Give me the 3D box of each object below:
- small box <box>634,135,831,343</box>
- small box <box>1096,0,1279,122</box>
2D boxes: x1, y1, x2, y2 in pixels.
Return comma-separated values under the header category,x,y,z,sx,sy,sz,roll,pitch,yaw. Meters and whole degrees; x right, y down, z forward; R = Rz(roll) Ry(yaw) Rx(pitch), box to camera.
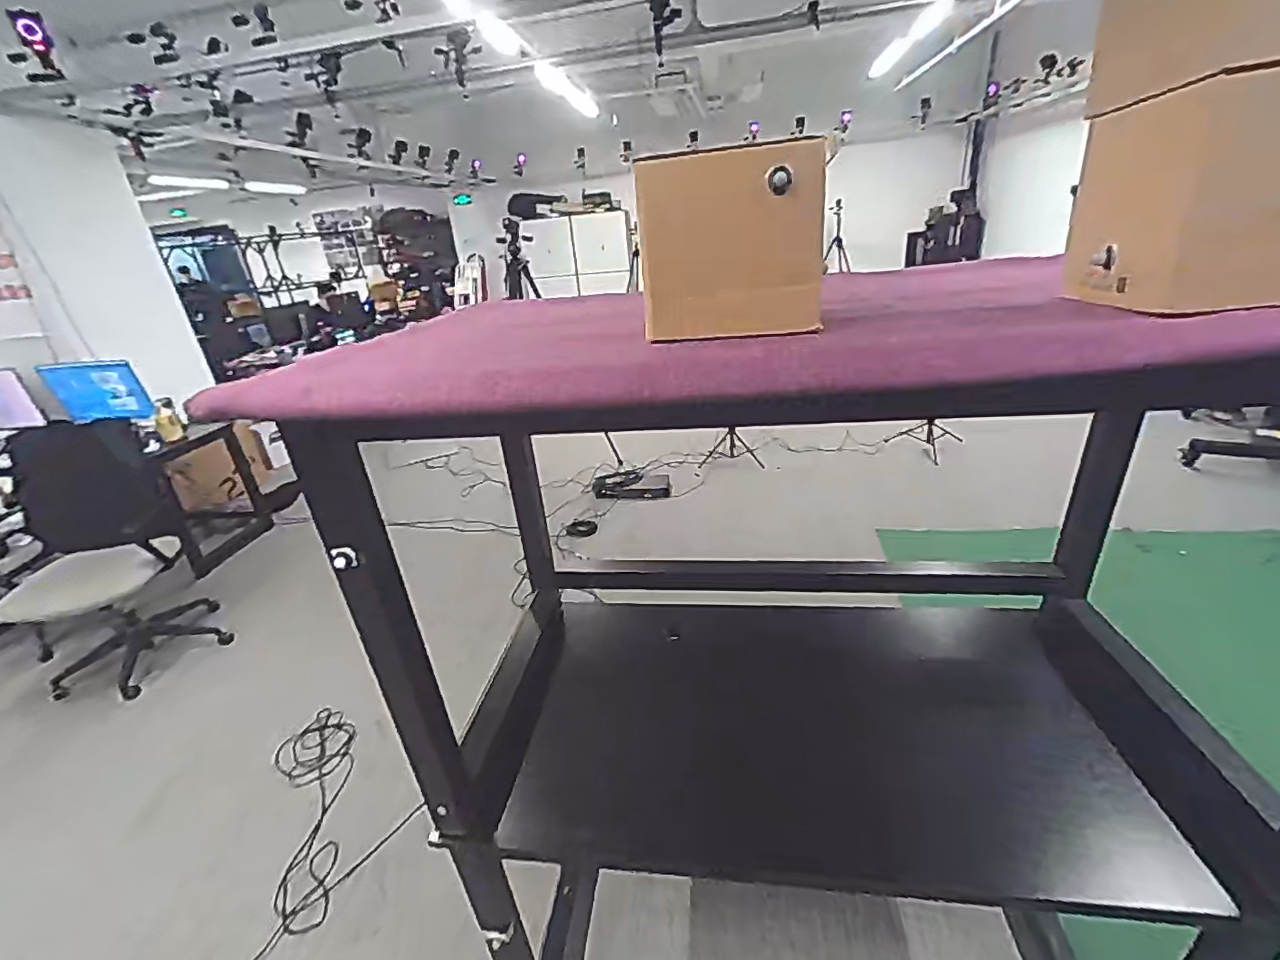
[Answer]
category,x,y,z,sx,sy,sz,roll,pitch,yaw
small box,0.100,-0.245,0.576,0.179,0.176,0.168,0,24,11
small box,0.490,-0.391,0.400,0.168,0.176,0.179,-2,23,12
